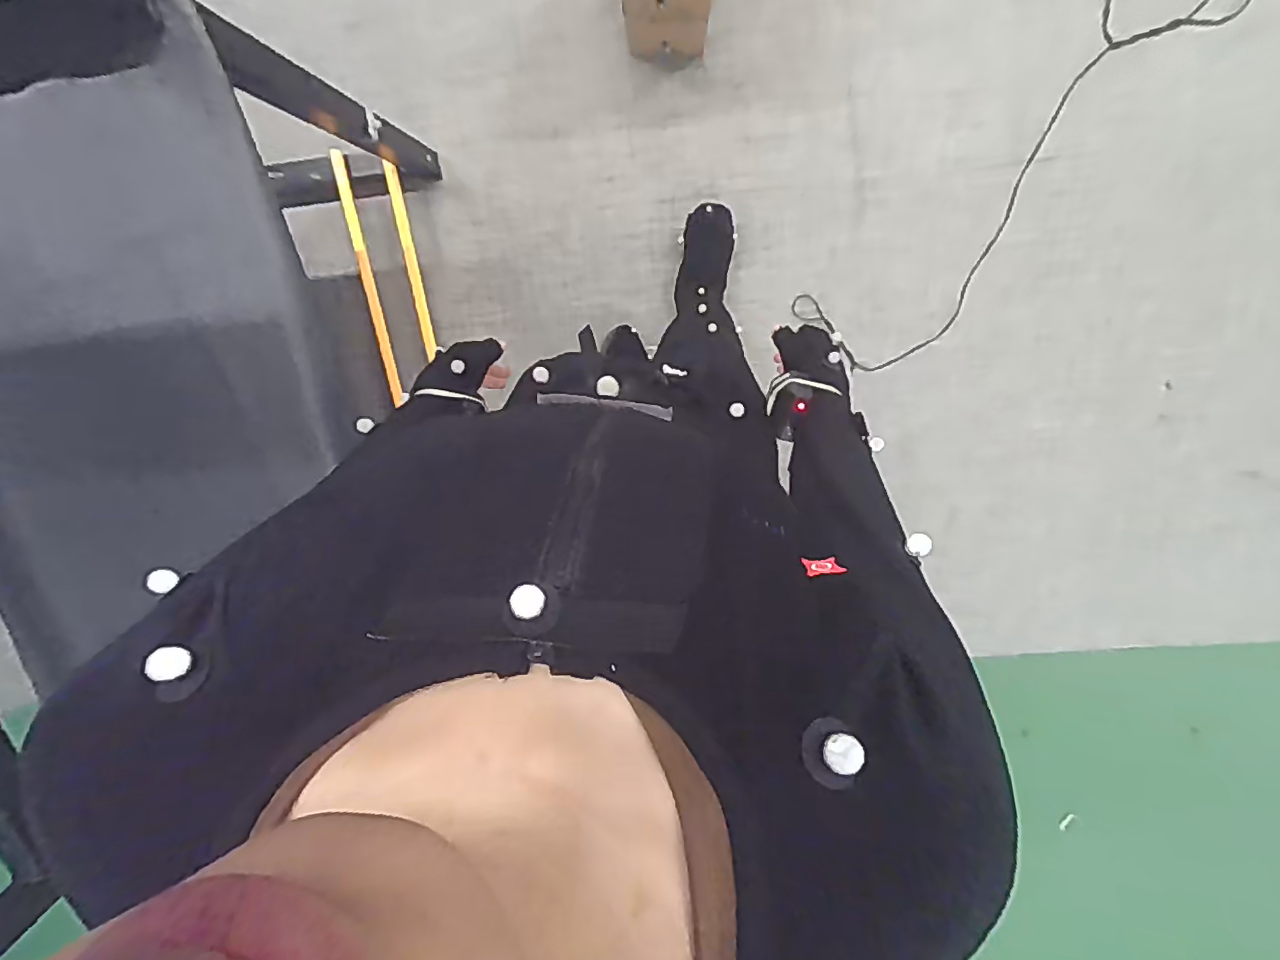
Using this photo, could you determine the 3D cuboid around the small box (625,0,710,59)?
[{"bbox_3d":[0.056,-0.988,1.089,0.168,0.176,0.179,1,109,3],"label":"small box"}]
